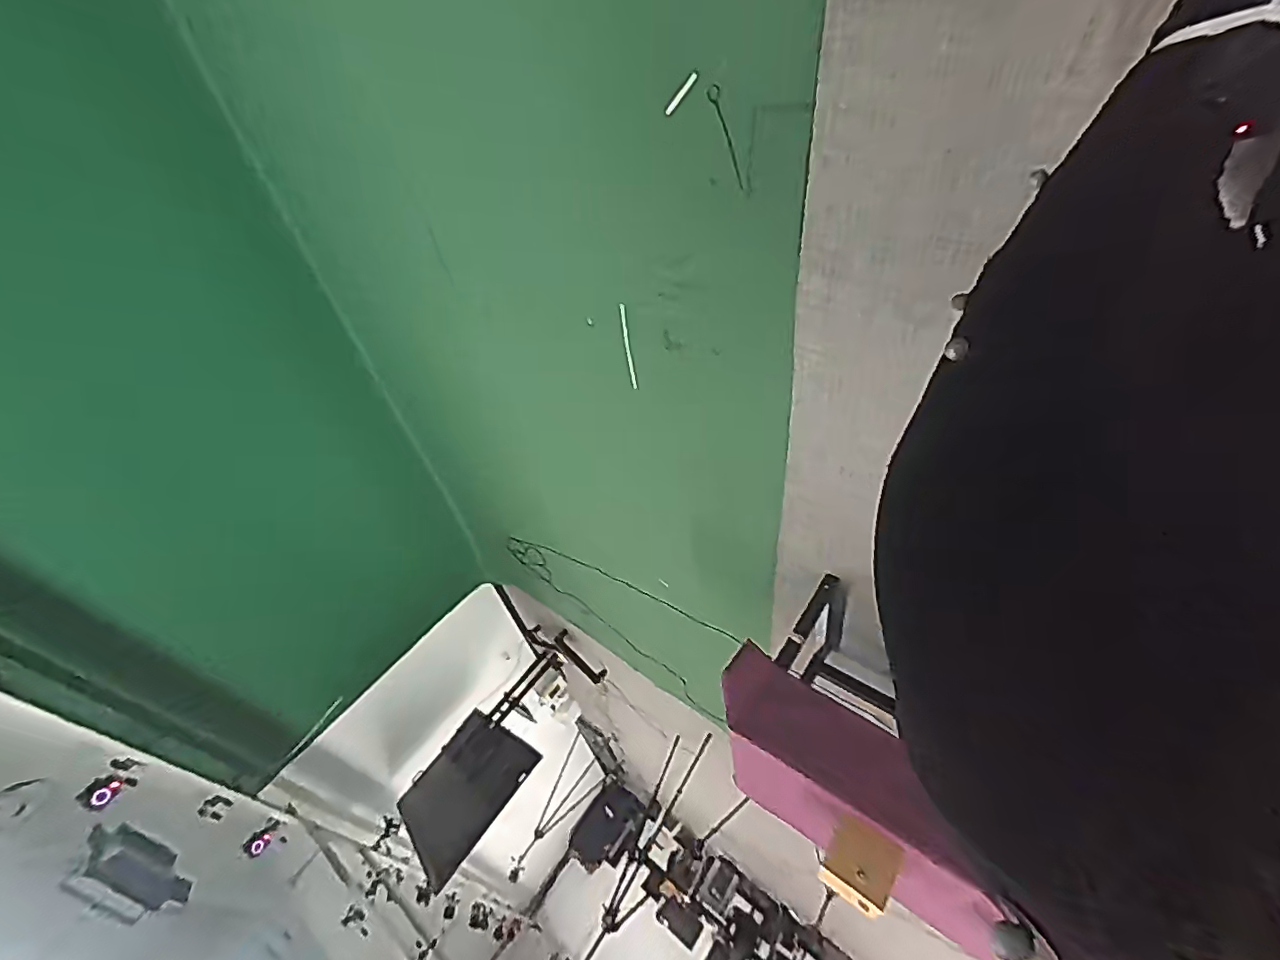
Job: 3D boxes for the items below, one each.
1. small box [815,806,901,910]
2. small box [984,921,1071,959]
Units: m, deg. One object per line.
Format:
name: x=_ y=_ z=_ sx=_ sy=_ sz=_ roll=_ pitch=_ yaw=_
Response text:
small box: x=0.631 y=1.093 z=1.568 sx=0.179 sy=0.176 sz=0.168 roll=25 pitch=145 yaw=31
small box: x=0.972 y=1.248 z=1.344 sx=0.168 sy=0.176 sz=0.179 roll=24 pitch=146 yaw=30
